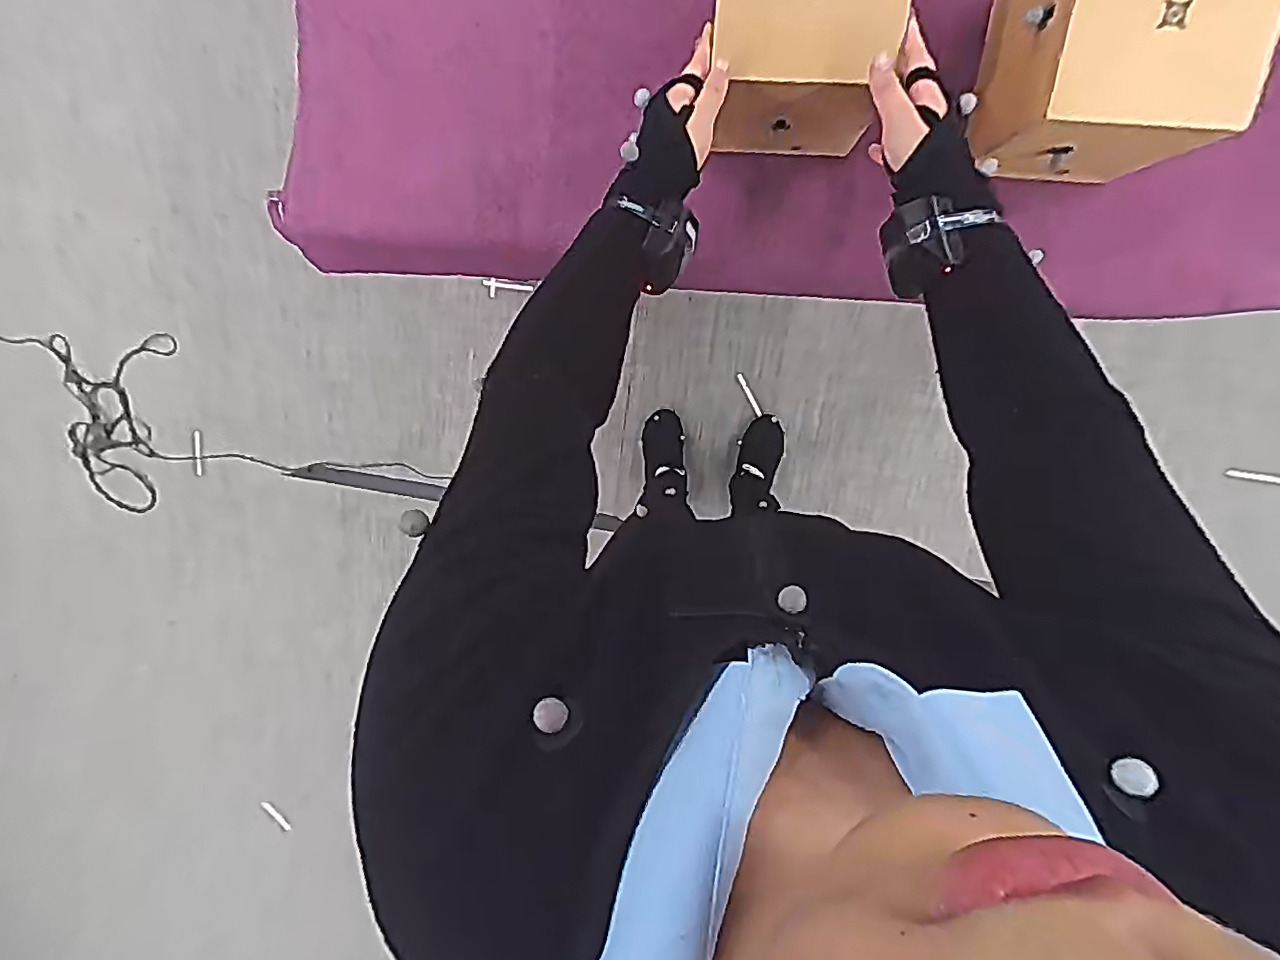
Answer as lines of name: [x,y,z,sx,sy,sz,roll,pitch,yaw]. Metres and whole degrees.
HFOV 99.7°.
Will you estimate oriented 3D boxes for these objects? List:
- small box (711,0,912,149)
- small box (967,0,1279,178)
small box: [0.161,-0.453,0.536,0.168,0.176,0.179,5,102,4]
small box: [0.450,-0.412,0.522,0.168,0.176,0.179,7,104,4]
